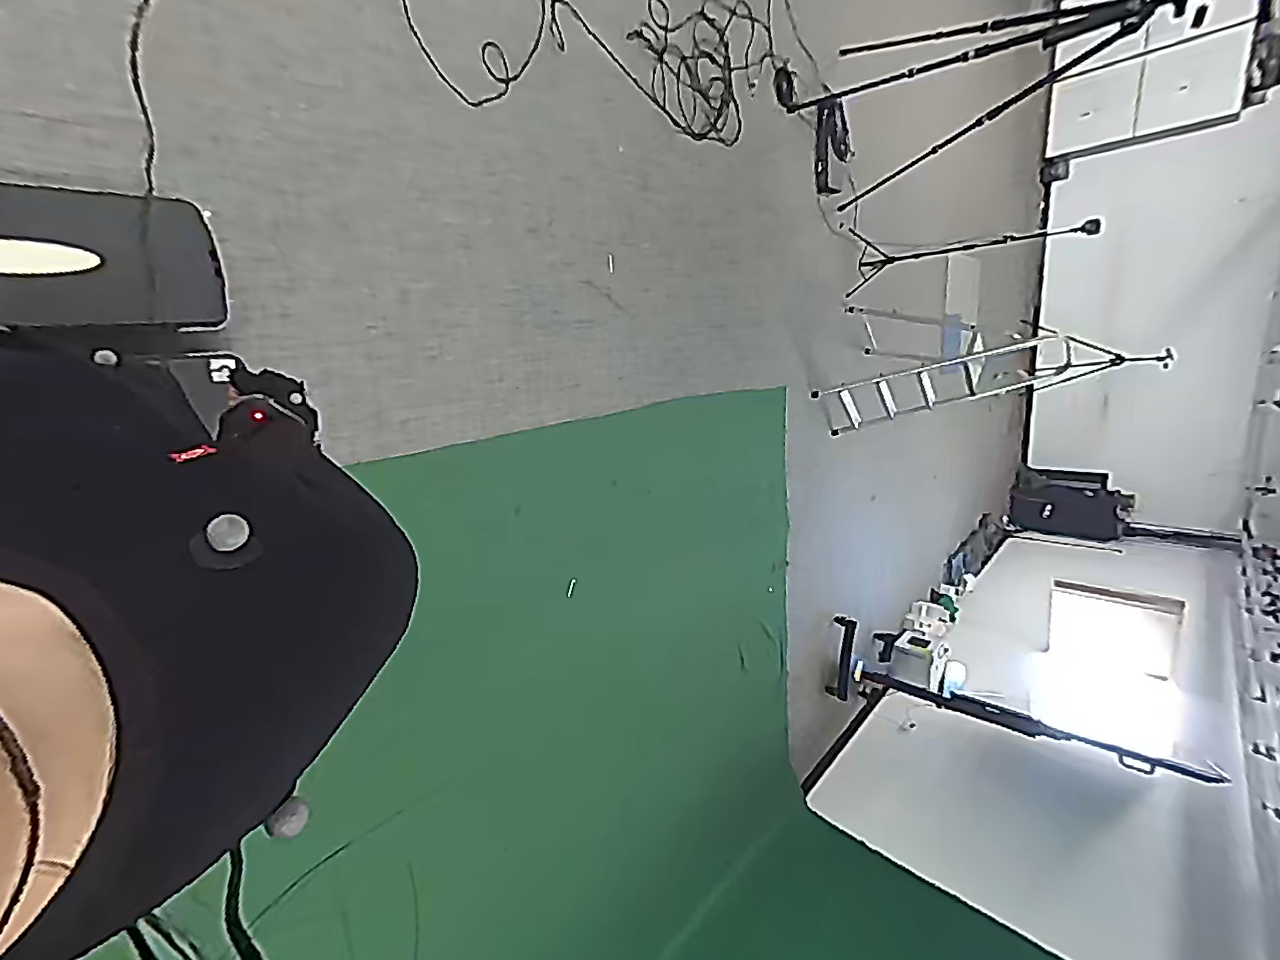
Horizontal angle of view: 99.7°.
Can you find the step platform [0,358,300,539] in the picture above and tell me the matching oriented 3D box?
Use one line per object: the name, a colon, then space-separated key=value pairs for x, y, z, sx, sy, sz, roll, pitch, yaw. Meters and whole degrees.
step platform: x=-1.038 y=-0.052 z=0.979 sx=0.684 sy=0.204 sz=0.286 roll=-18 pitch=109 yaw=-44
